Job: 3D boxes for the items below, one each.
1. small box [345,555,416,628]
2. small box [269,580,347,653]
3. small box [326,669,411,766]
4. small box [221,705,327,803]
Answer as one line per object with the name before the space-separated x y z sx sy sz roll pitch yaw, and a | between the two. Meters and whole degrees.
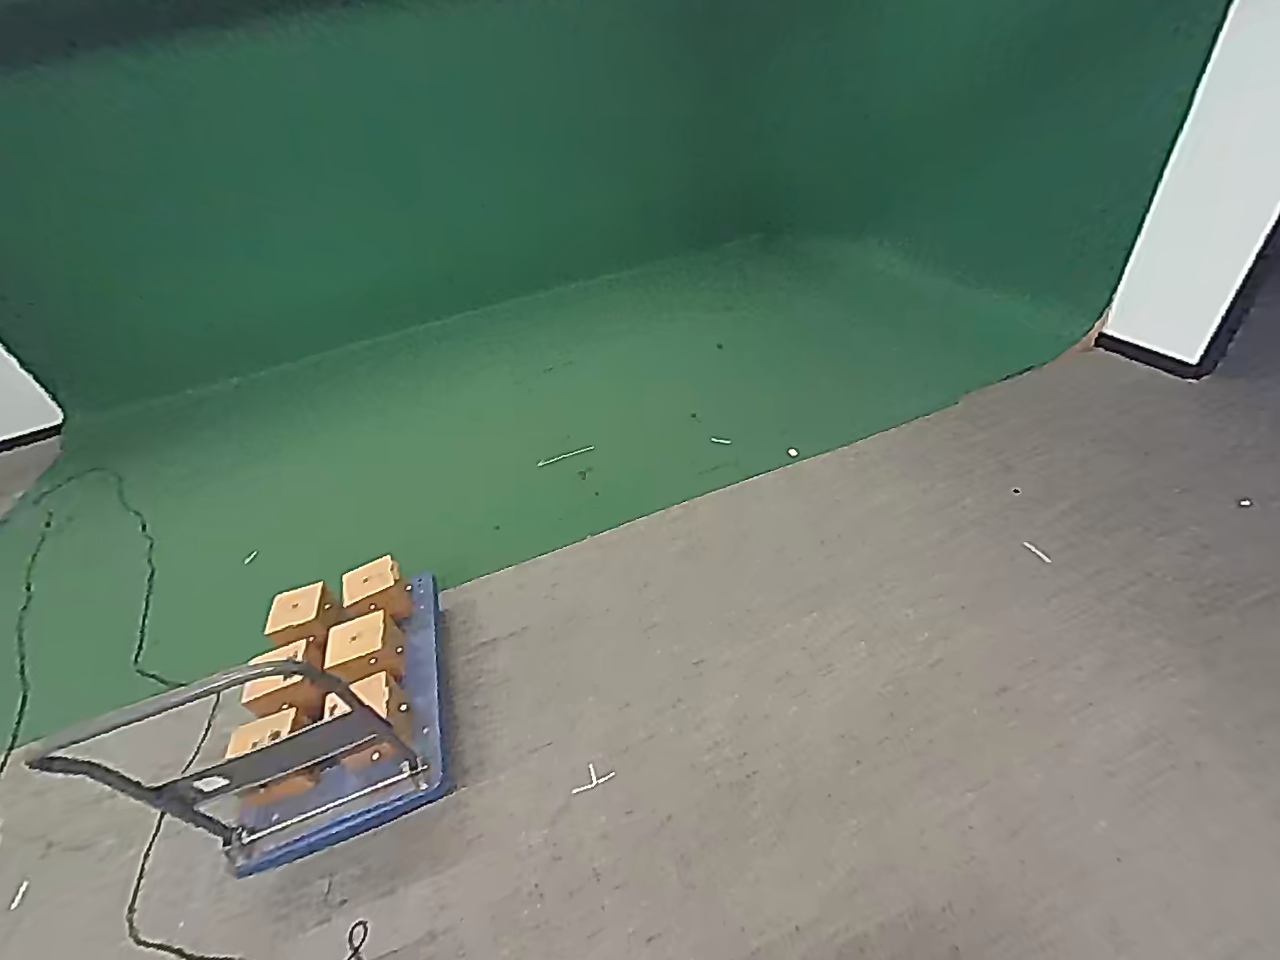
small box | -0.932 0.405 1.954 0.179 0.176 0.168 -18 43 -9
small box | -1.167 0.490 1.917 0.168 0.176 0.179 -16 40 -7
small box | -0.782 0.694 1.578 0.179 0.176 0.168 -20 40 -11
small box | -1.027 0.779 1.537 0.179 0.176 0.168 -18 39 -7
